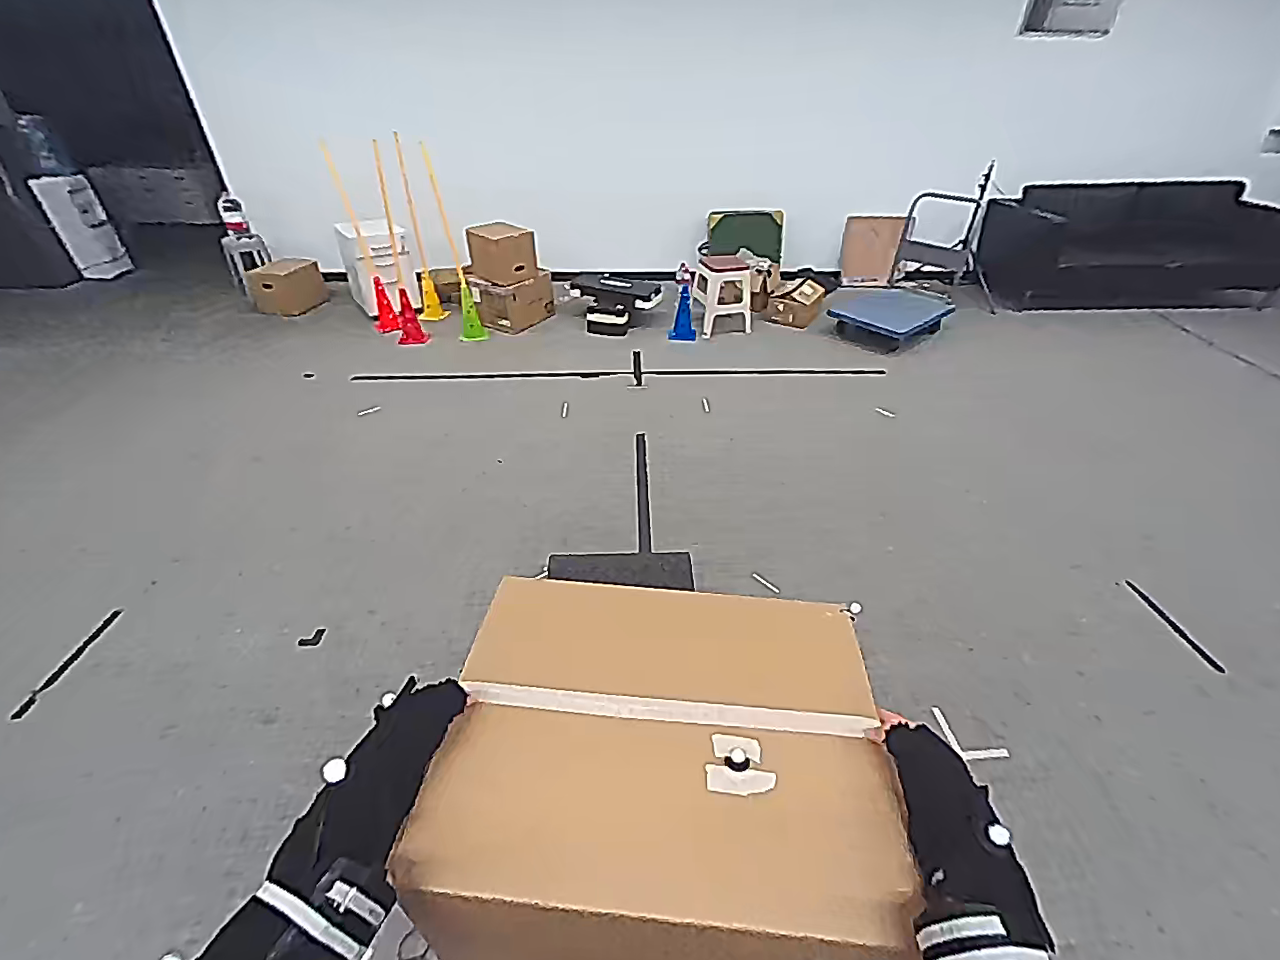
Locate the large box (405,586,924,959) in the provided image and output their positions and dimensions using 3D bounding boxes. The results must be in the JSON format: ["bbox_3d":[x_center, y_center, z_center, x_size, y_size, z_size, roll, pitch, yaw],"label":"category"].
[{"bbox_3d":[0.021,0.349,0.612,0.408,0.320,0.320,4,36,4],"label":"large box"}]
